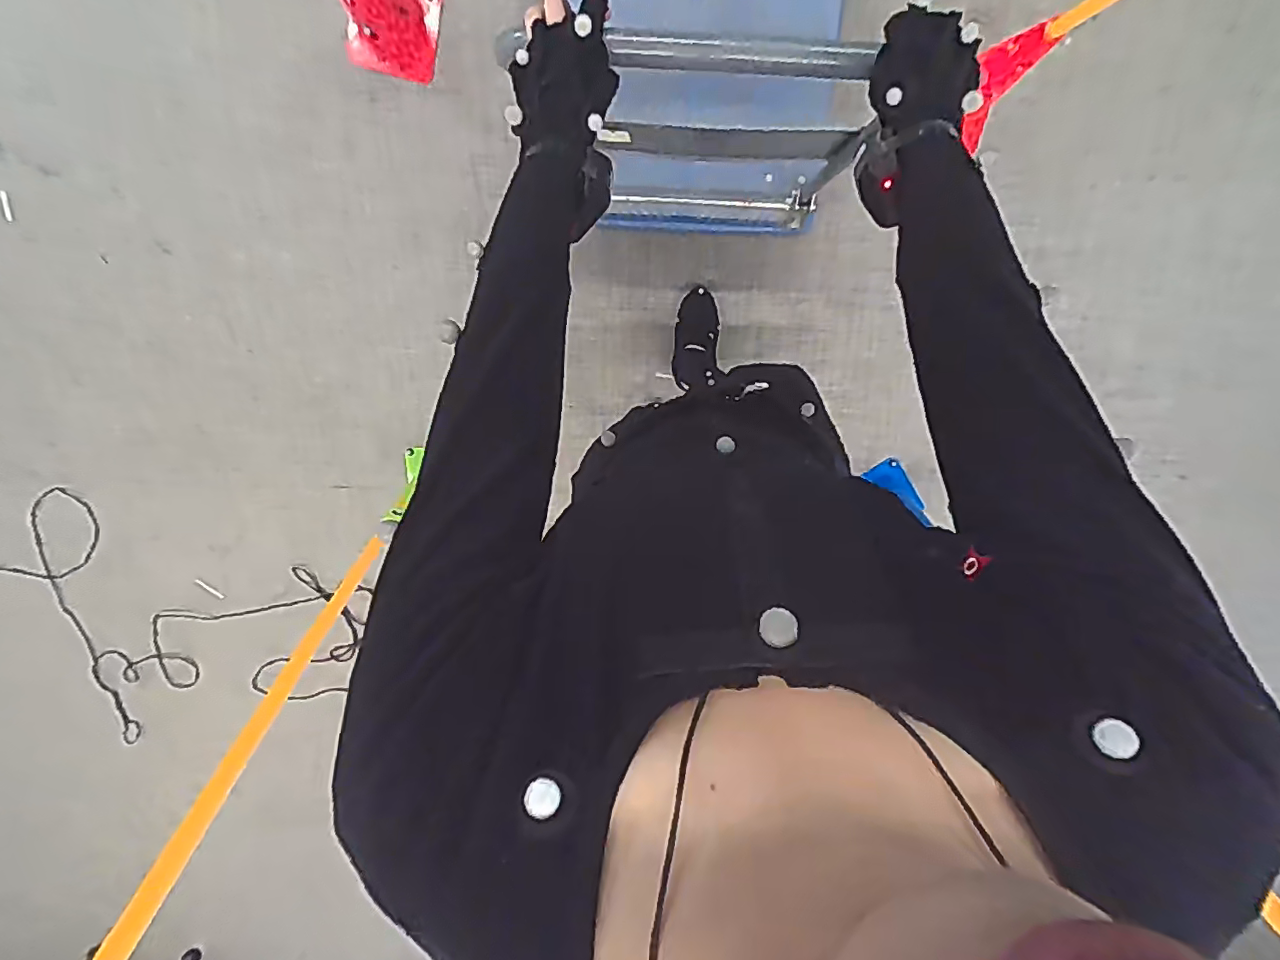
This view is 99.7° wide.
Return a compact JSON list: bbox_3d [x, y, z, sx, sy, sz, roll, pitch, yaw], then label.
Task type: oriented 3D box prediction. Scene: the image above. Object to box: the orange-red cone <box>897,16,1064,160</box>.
[{"bbox_3d":[0.718,-0.824,1.099,0.198,0.360,0.199,12,106,-2],"label":"orange-red cone"}]
